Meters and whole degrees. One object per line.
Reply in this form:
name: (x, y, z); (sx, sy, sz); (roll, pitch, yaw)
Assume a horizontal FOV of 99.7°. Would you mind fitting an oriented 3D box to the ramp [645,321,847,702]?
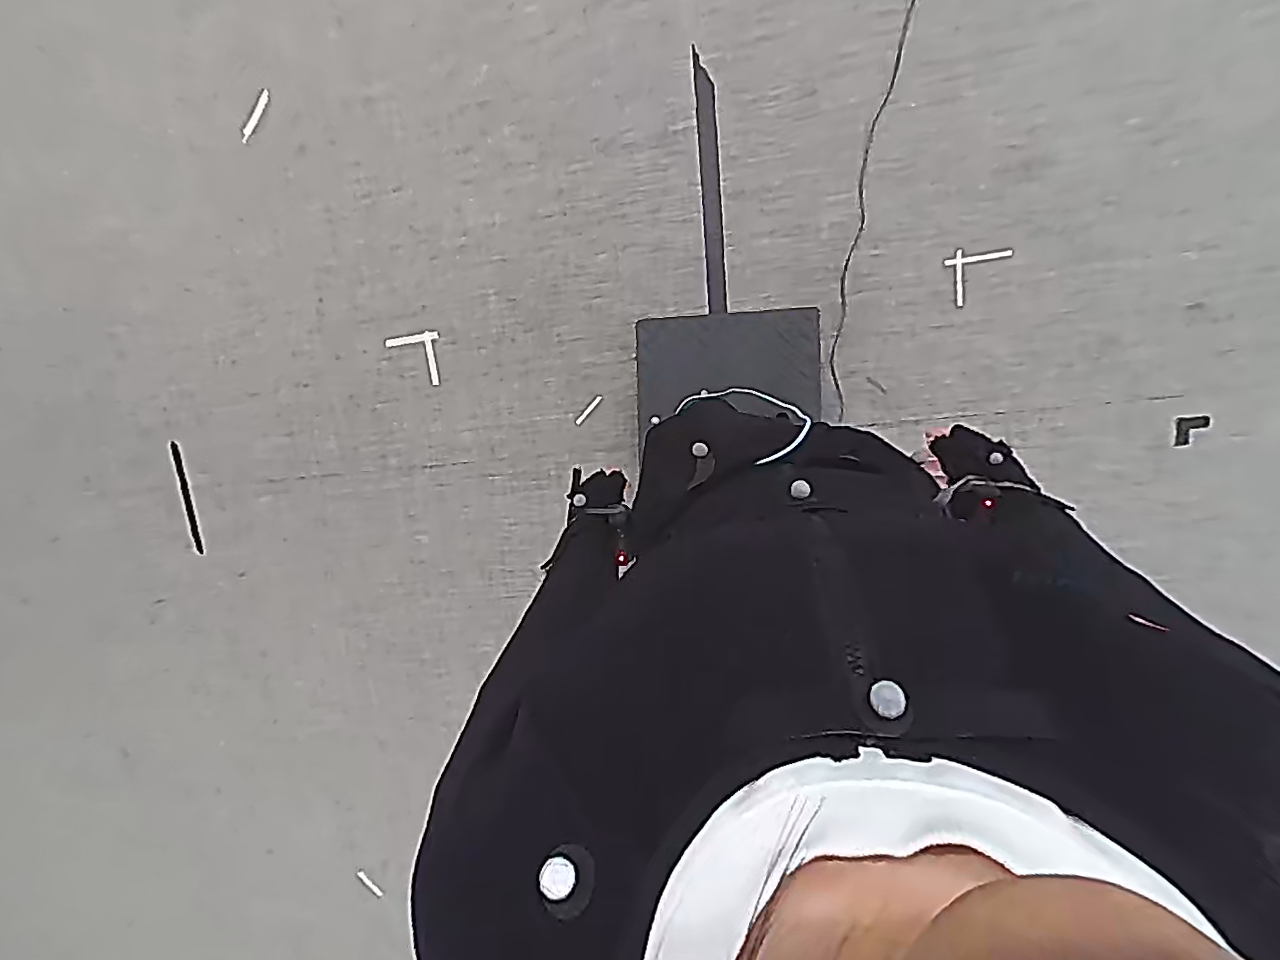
ramp: (0.269, 0.085, 1.459); (0.509, 0.206, 0.991); (-5, 96, 12)
